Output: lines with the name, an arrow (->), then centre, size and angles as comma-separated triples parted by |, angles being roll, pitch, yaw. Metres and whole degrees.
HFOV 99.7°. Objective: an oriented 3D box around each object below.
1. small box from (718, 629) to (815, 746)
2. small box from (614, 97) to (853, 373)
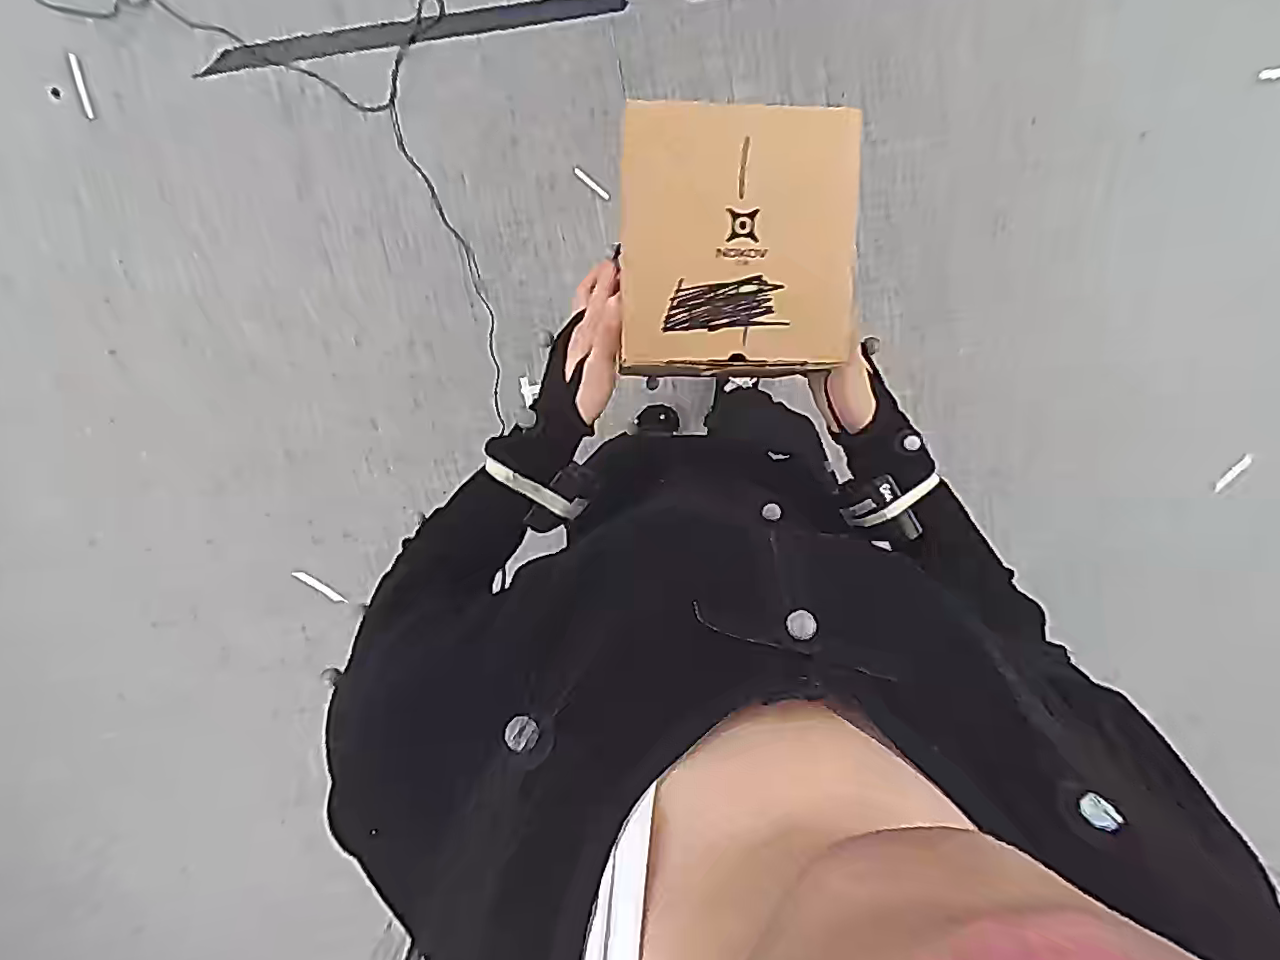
small box -> 0.282, 0.447, 1.191 | 0.179, 0.176, 0.168 | -11, 99, 1
small box -> 0.062, -0.183, 0.458 | 0.168, 0.176, 0.179 | -1, 96, -3
